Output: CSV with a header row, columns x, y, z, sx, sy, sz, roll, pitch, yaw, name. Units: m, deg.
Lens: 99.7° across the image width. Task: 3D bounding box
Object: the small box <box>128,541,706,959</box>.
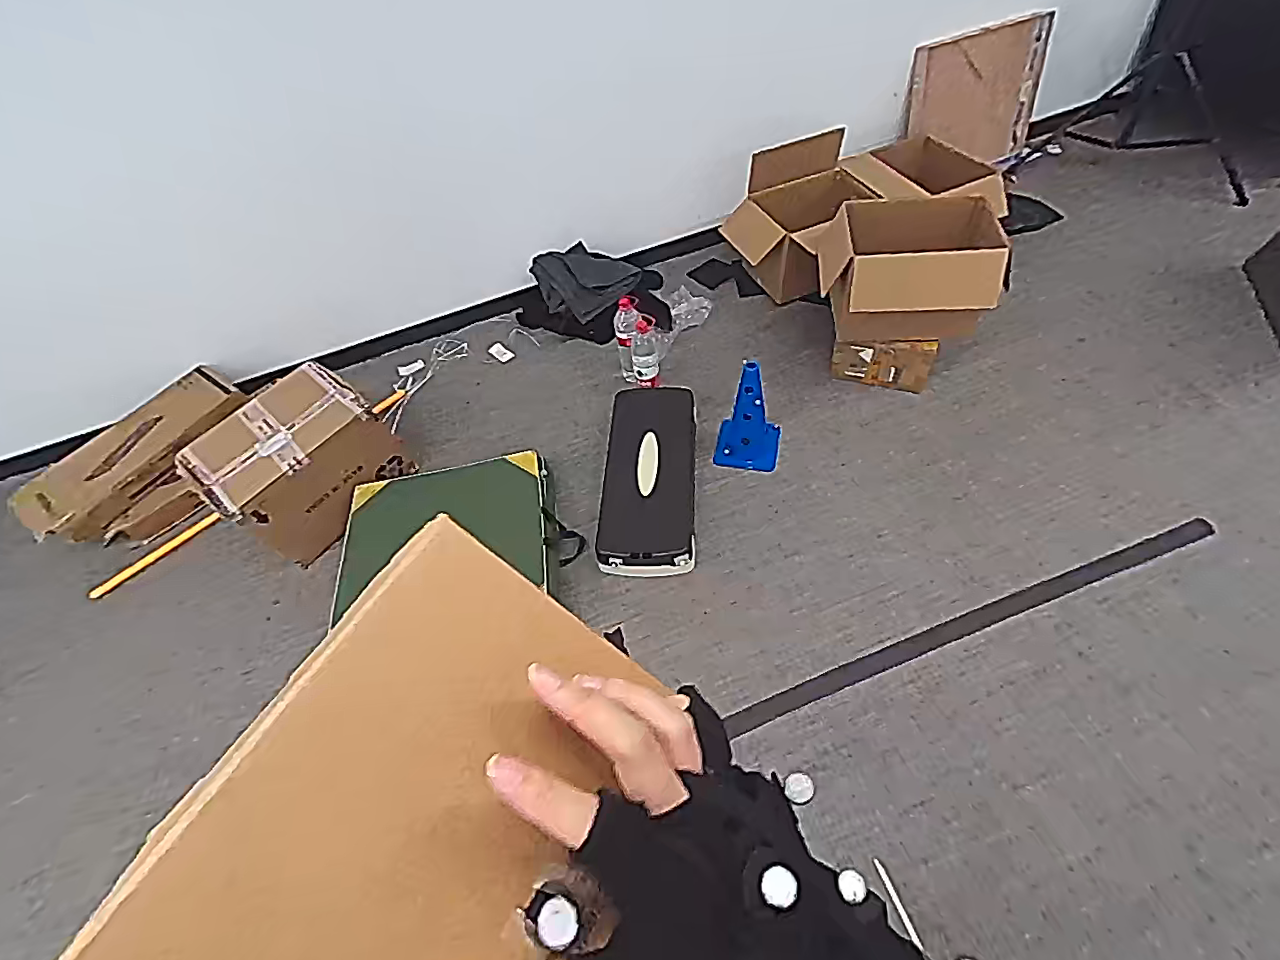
x,y,z,sx,sy,sz,roll,pitch,yaw,name
-0.099,0.162,0.288,0.176,0.179,0.168,43,54,-14,small box
